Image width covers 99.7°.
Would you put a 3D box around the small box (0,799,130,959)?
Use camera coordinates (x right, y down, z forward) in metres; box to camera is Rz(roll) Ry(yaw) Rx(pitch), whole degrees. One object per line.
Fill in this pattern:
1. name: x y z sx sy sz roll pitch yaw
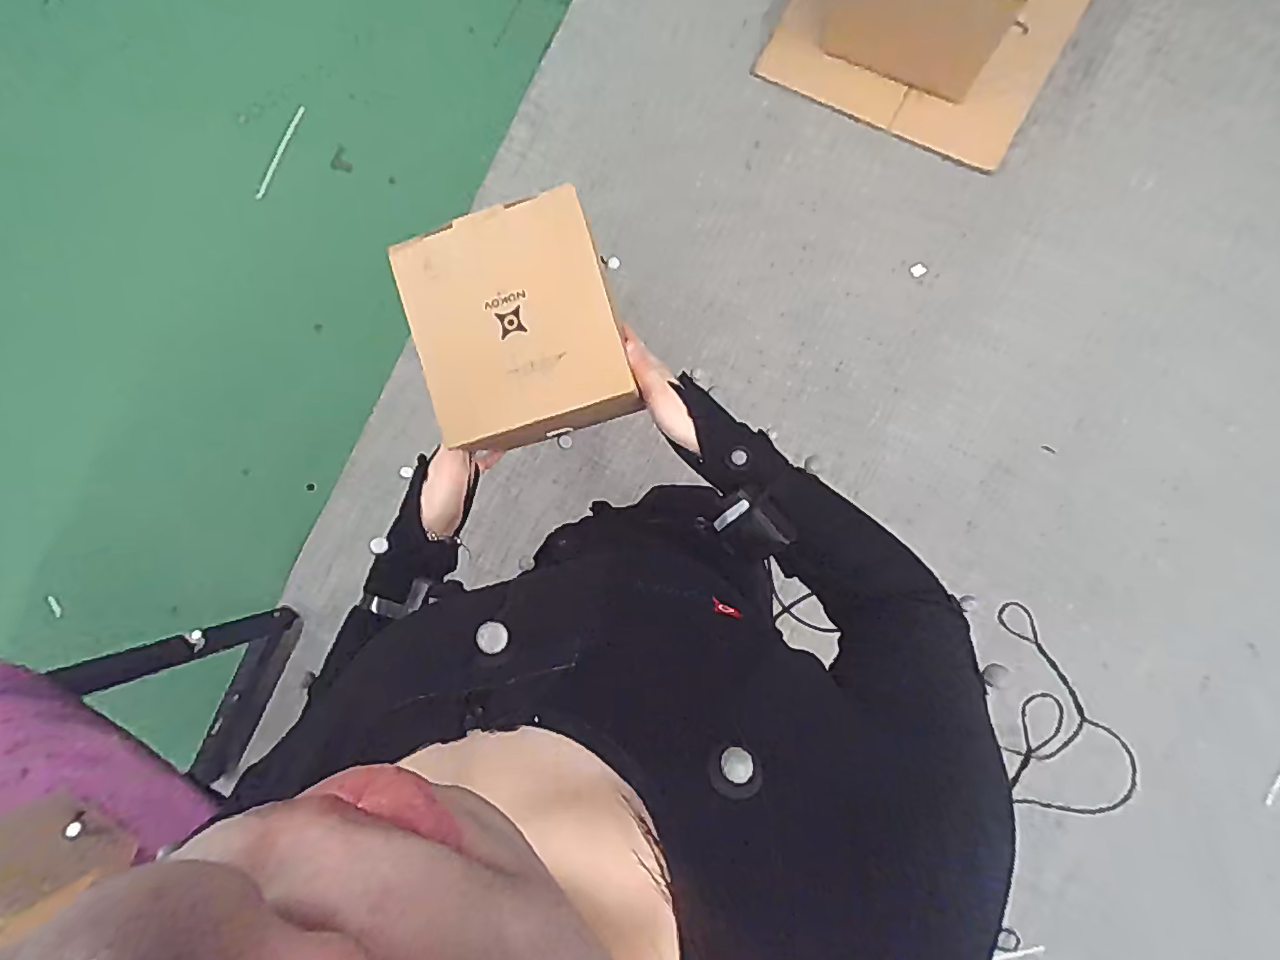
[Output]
1. small box: -0.907 0.616 0.781 0.168 0.176 0.179 27 91 6

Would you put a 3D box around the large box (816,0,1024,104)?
1. large box: 0.698 -1.210 1.295 0.408 0.320 0.320 26 92 6
